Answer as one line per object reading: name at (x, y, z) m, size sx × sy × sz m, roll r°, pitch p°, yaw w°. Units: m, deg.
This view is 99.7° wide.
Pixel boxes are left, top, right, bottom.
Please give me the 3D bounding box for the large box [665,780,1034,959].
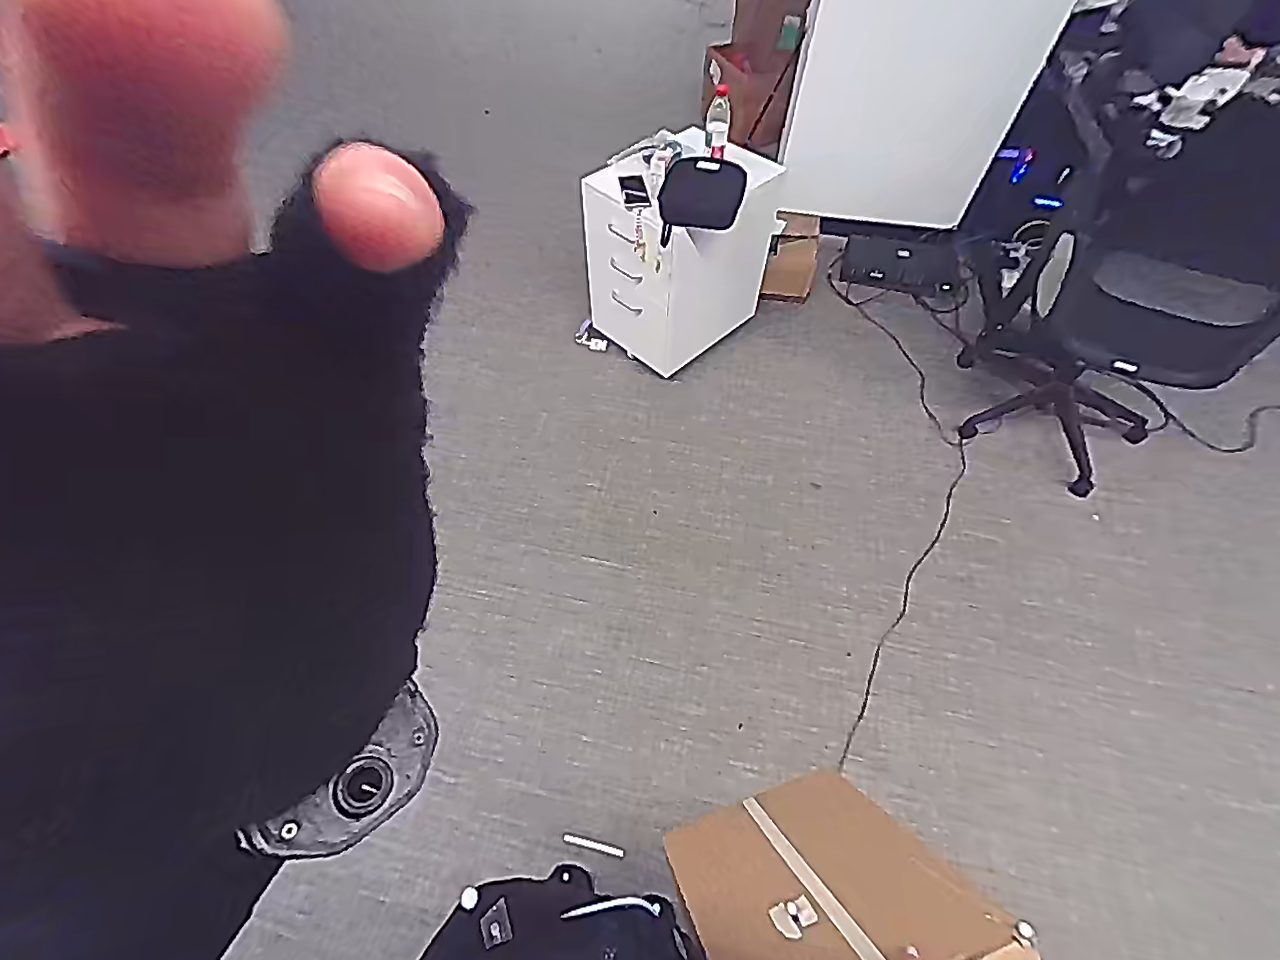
large box at (0.256, 0.677, 0.701) m, size 0.320 × 0.408 × 0.320 m, roll -16°, pitch 88°, yaw -11°
